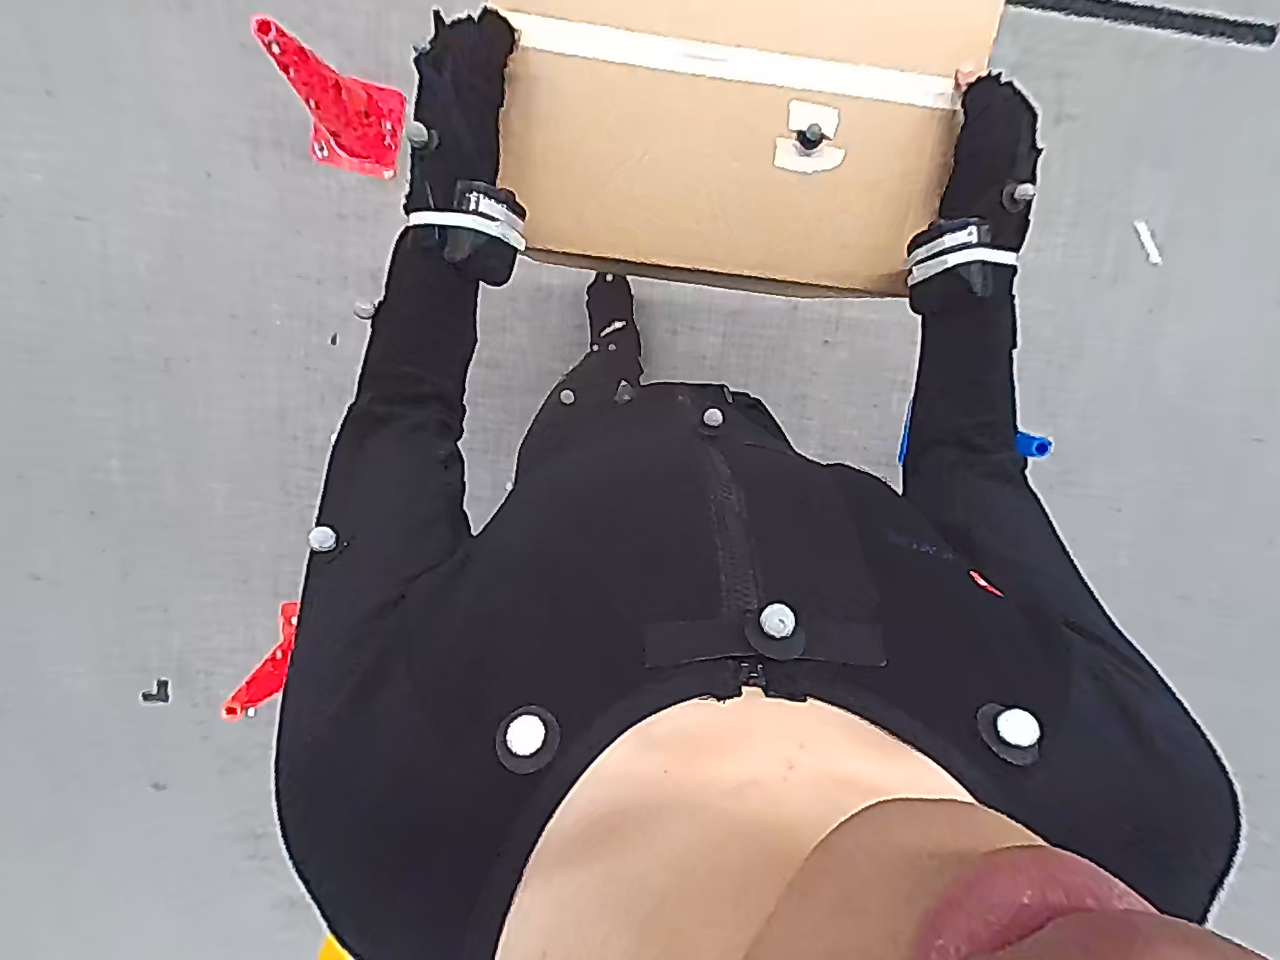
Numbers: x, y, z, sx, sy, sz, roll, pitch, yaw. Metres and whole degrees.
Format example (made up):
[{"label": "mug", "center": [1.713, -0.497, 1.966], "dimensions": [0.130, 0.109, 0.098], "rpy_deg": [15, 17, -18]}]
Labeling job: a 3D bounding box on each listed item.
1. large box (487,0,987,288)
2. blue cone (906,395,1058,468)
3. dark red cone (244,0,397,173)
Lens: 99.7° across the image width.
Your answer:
[{"label": "large box", "center": [0.069, -0.393, 0.584], "dimensions": [0.408, 0.320, 0.320], "rpy_deg": [6, 108, -5]}, {"label": "blue cone", "center": [0.839, -0.106, 1.317], "dimensions": [0.192, 0.380, 0.193], "rpy_deg": [8, 99, -5]}, {"label": "dark red cone", "center": [-0.659, -0.809, 1.092], "dimensions": [0.201, 0.394, 0.202], "rpy_deg": [11, 98, -6]}]
